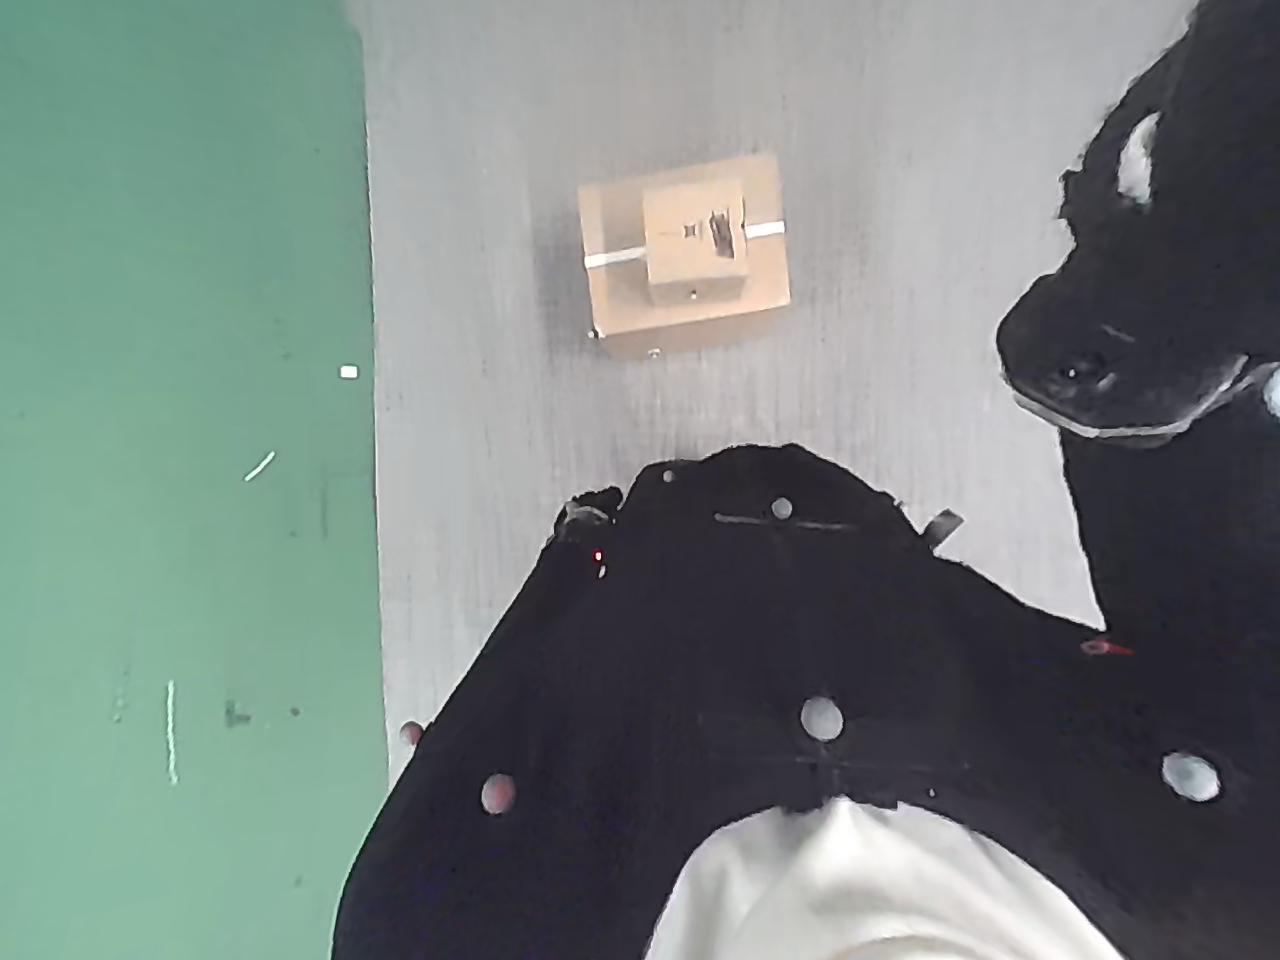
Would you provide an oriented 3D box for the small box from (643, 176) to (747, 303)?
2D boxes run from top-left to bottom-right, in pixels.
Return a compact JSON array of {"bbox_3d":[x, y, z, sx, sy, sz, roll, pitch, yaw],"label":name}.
[{"bbox_3d":[0.102,-0.444,1.023,0.179,0.176,0.168,-3,93,6],"label":"small box"}]
